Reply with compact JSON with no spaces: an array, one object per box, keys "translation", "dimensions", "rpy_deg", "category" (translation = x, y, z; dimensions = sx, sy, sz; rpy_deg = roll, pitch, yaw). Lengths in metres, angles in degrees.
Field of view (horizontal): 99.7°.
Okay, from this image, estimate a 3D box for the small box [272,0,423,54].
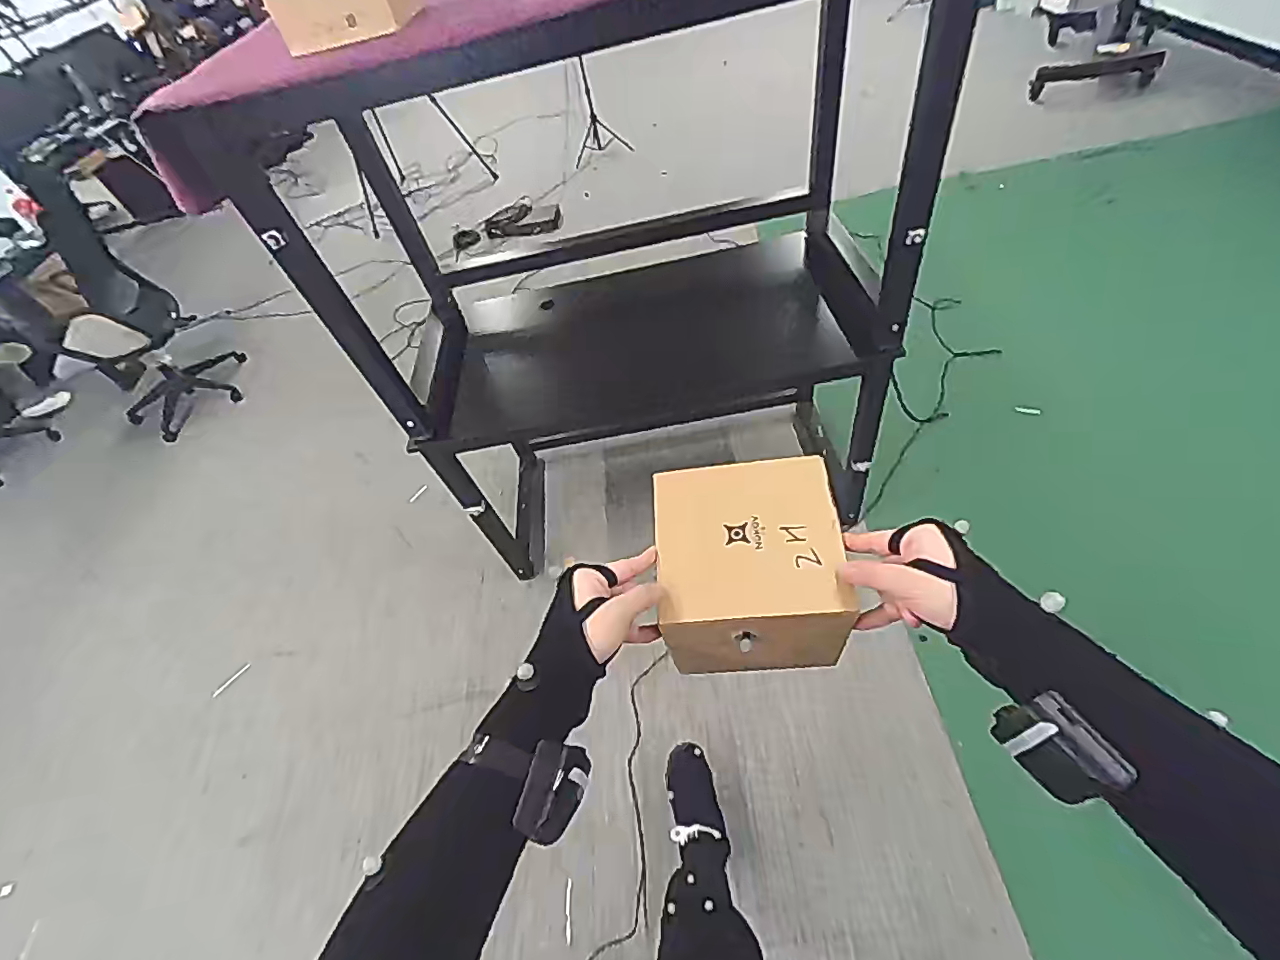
[{"translation":[-0.433,-0.737,0.768],"dimensions":[0.168,0.176,0.179],"rpy_deg":[-10,49,6],"category":"small box"}]
